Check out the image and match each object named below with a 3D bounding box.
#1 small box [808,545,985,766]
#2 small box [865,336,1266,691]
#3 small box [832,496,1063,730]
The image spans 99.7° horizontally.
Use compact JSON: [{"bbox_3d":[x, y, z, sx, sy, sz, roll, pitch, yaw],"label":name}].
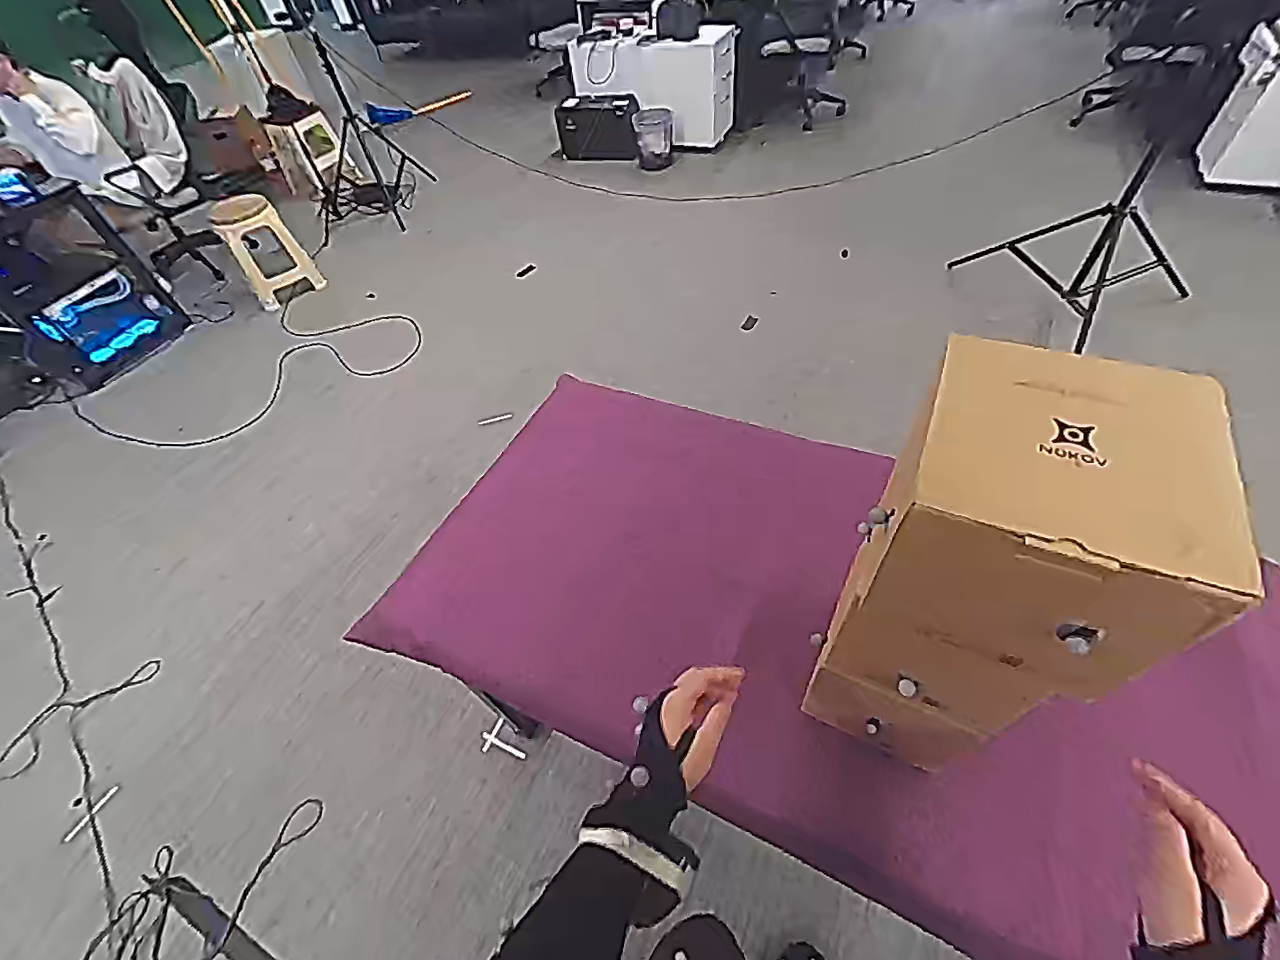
[{"bbox_3d":[0.316,0.217,0.662,0.168,0.176,0.179,21,56,22],"label":"small box"},{"bbox_3d":[0.280,0.026,0.399,0.168,0.176,0.179,18,55,19],"label":"small box"},{"bbox_3d":[0.304,0.112,0.537,0.168,0.176,0.179,20,57,22],"label":"small box"}]
